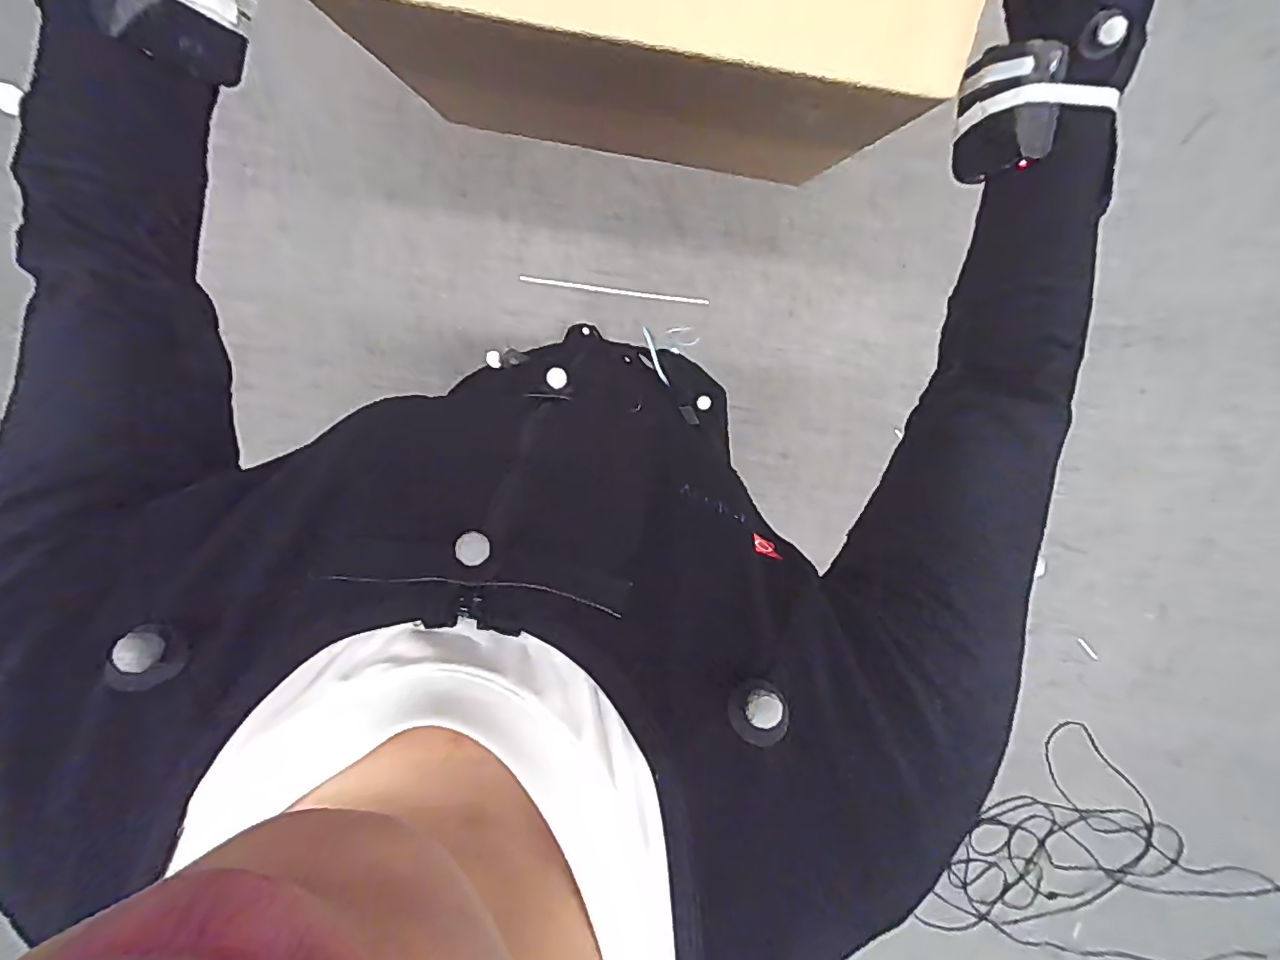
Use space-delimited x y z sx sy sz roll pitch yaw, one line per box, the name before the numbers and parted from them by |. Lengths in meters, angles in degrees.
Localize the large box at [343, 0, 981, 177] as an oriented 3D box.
large box | 0.016 -0.460 0.415 0.408 0.320 0.320 7 110 -5
